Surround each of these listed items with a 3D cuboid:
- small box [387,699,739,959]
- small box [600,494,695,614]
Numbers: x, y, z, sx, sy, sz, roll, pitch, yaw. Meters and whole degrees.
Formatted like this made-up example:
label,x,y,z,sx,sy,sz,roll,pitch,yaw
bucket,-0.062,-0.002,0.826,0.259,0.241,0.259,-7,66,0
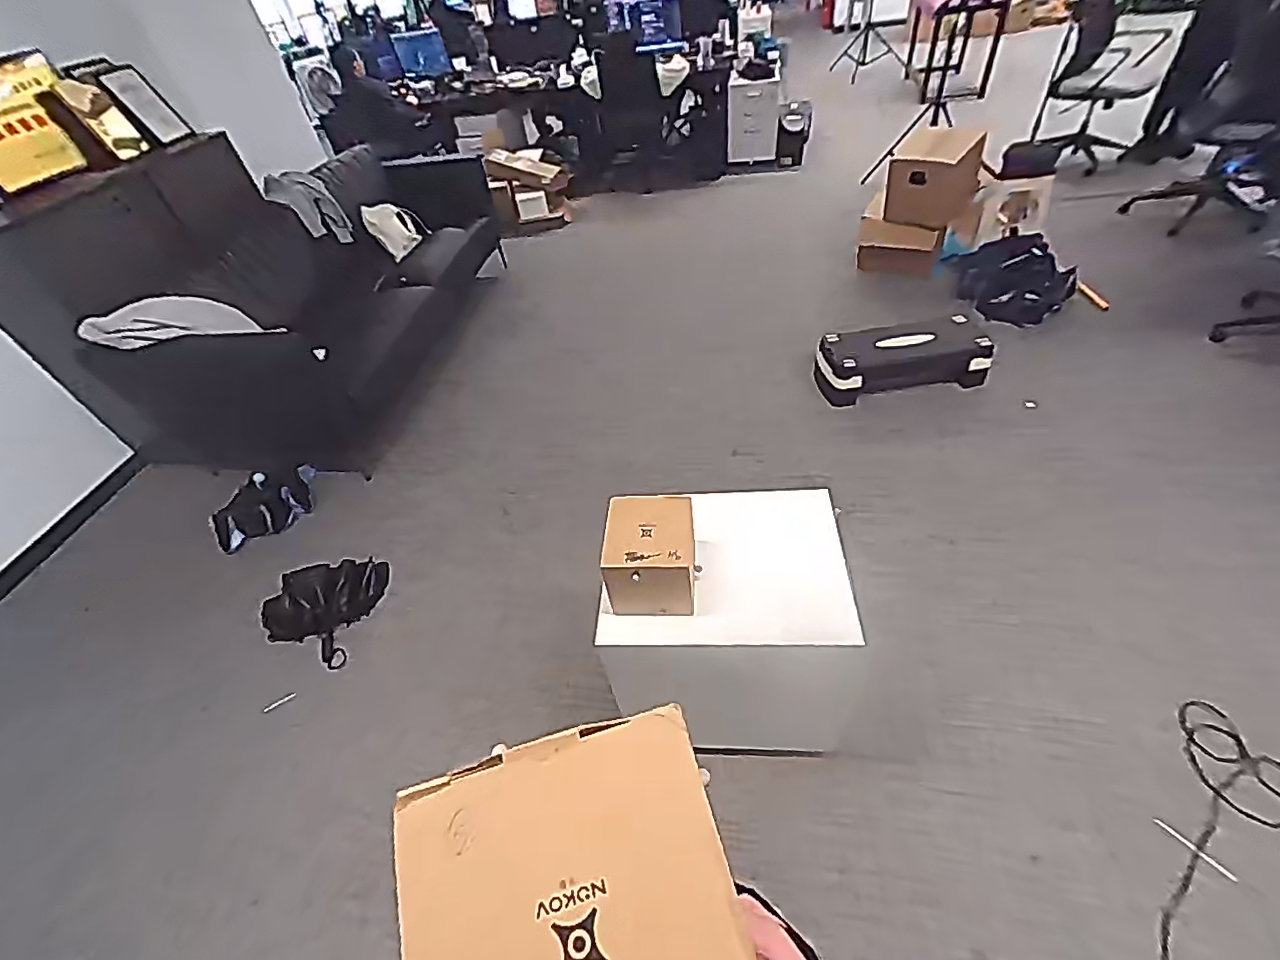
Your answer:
label,x,y,z,sx,sy,sz,roll,pitch,yaw
small box,-0.043,0.259,0.341,0.168,0.176,0.179,-13,62,-9
small box,0.024,0.147,1.090,0.168,0.176,0.179,-1,45,9
